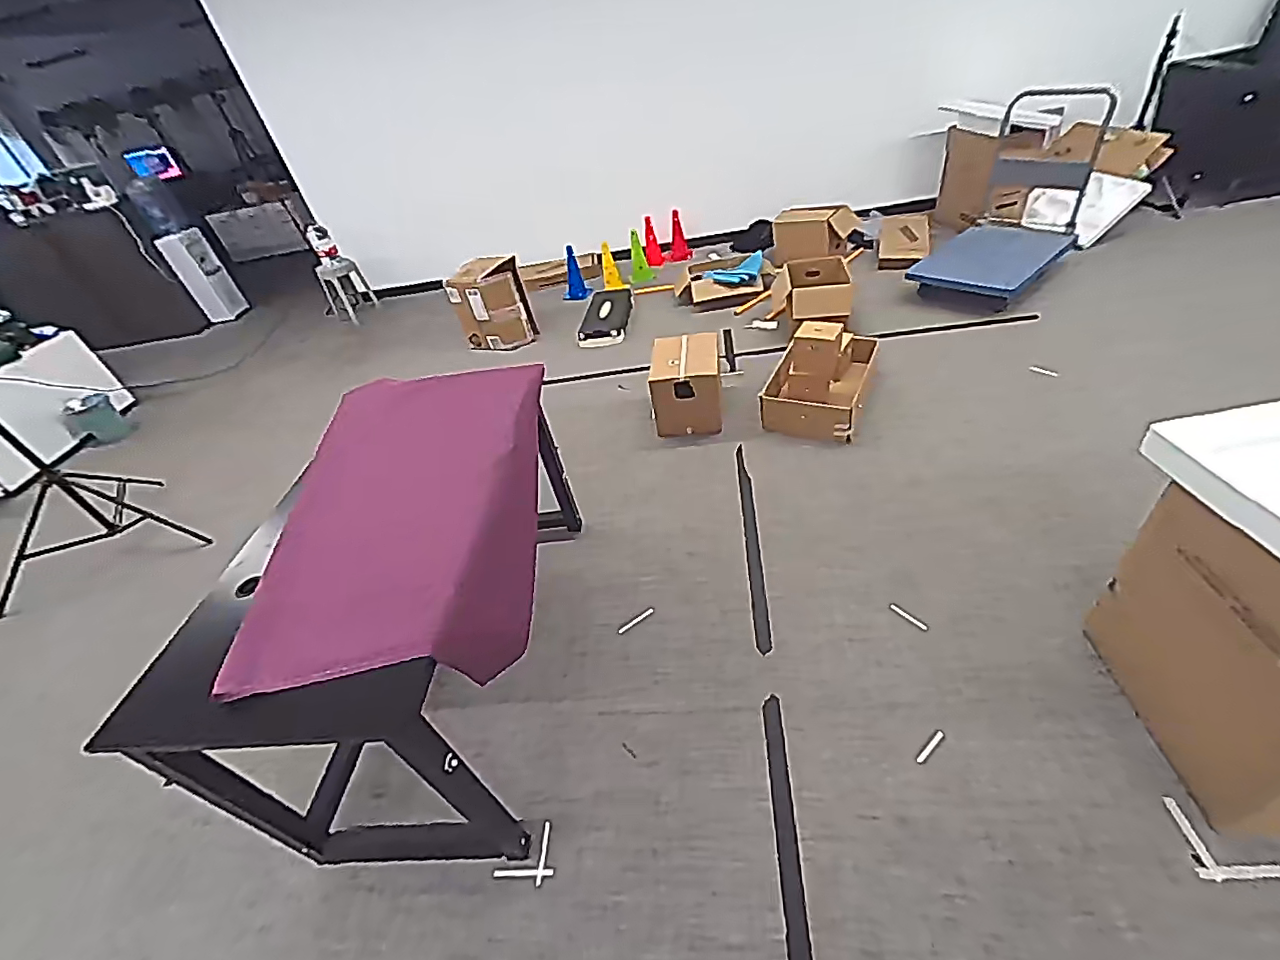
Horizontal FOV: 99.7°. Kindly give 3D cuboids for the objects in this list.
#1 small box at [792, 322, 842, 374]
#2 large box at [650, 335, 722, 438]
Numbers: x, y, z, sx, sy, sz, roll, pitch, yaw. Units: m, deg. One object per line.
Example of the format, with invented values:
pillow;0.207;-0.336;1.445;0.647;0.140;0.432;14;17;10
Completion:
small box;0.782;-0.586;2.402;0.179;0.176;0.168;14;44;27
large box;0.231;-0.456;2.621;0.320;0.320;0.408;-5;41;11
